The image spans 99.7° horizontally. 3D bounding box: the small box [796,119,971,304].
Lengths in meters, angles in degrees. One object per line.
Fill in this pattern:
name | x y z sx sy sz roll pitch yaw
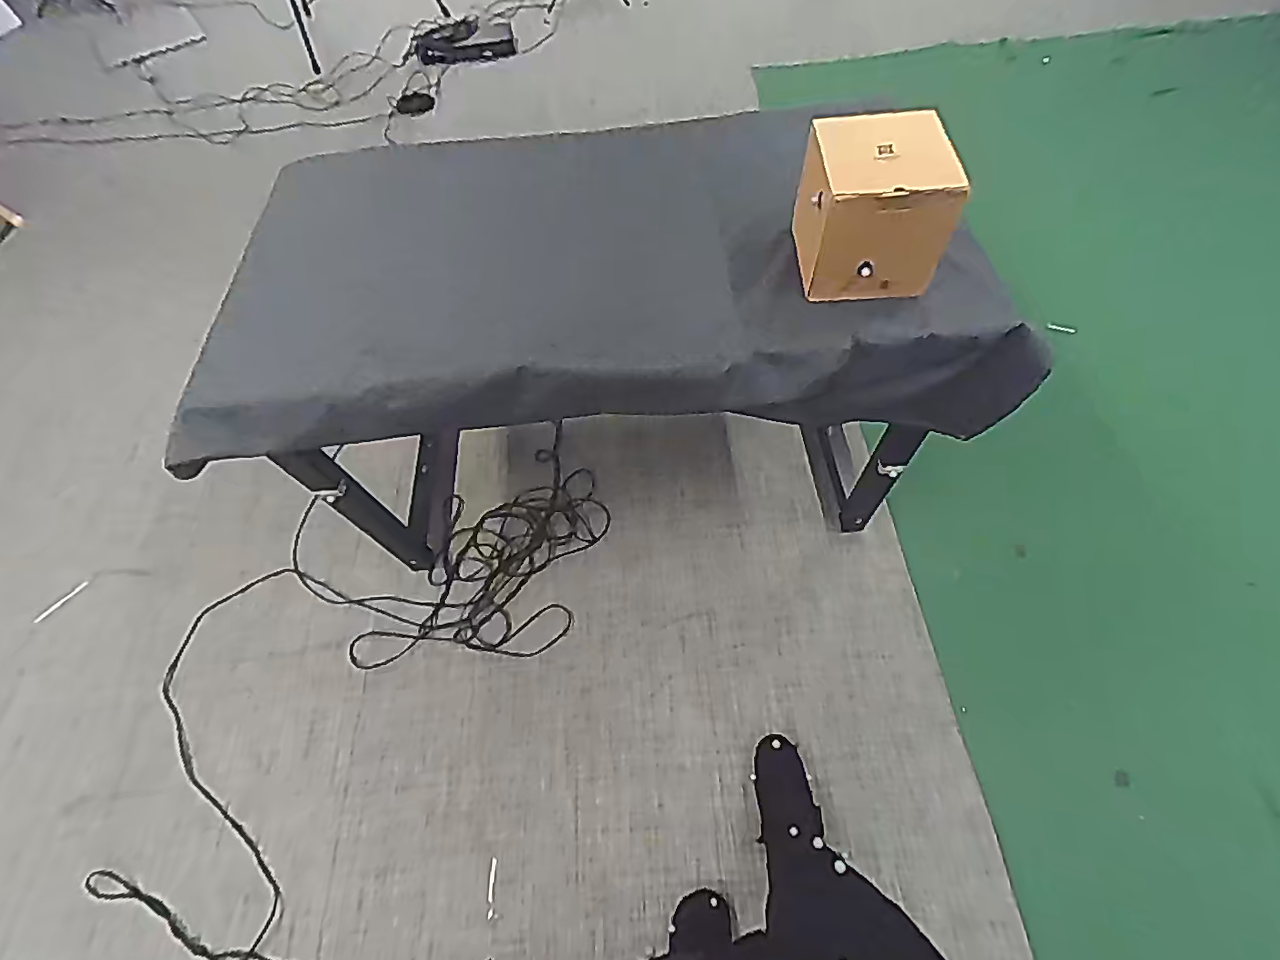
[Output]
small box | 0.326 -0.375 0.767 0.168 0.176 0.179 -2 60 4
